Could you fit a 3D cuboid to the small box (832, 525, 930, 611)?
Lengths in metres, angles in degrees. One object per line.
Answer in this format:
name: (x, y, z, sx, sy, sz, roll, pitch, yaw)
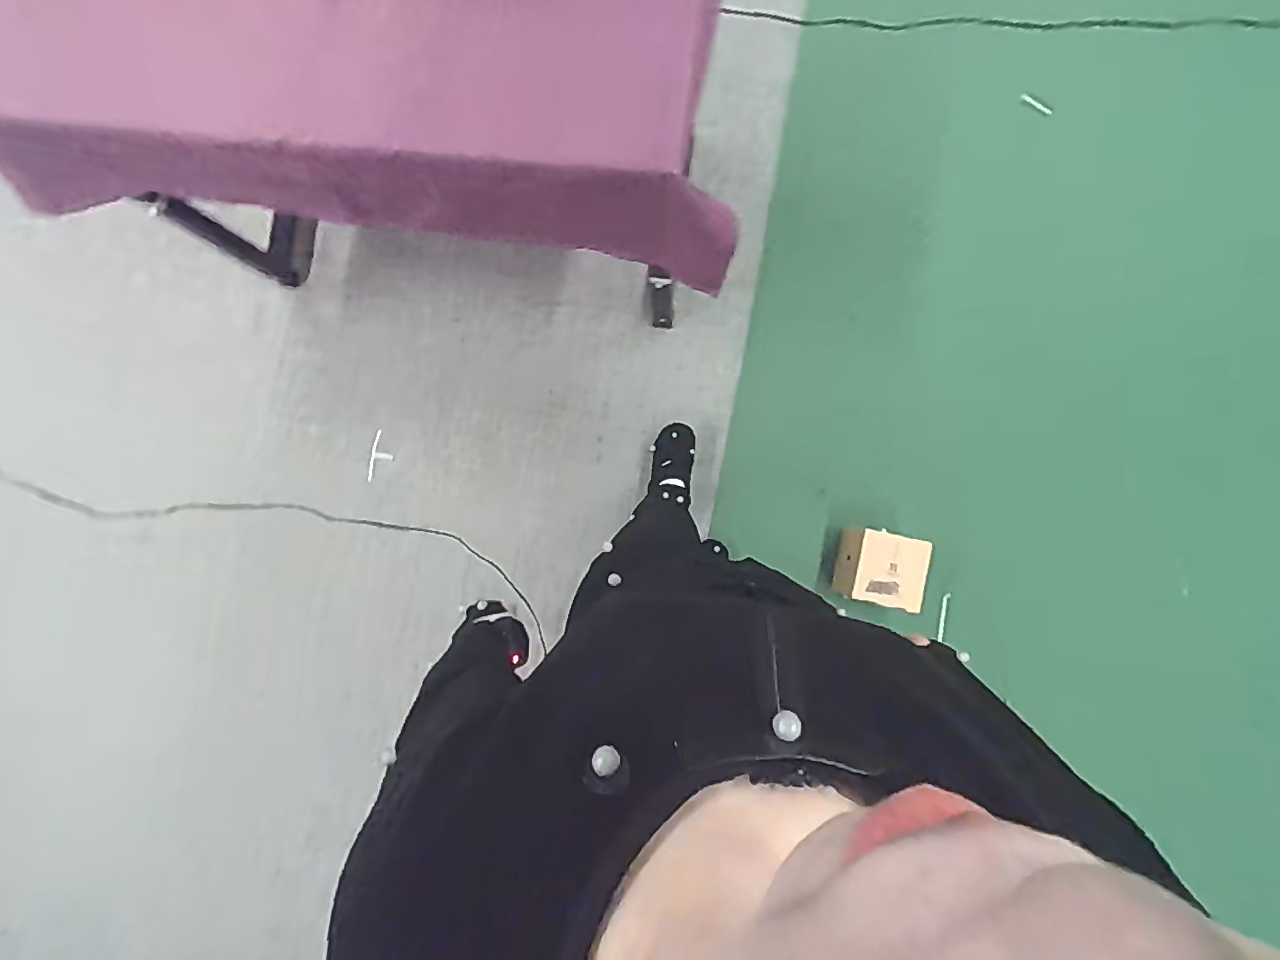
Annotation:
small box: (0.608, 0.219, 1.386, 0.168, 0.176, 0.179, 13, 86, 4)
